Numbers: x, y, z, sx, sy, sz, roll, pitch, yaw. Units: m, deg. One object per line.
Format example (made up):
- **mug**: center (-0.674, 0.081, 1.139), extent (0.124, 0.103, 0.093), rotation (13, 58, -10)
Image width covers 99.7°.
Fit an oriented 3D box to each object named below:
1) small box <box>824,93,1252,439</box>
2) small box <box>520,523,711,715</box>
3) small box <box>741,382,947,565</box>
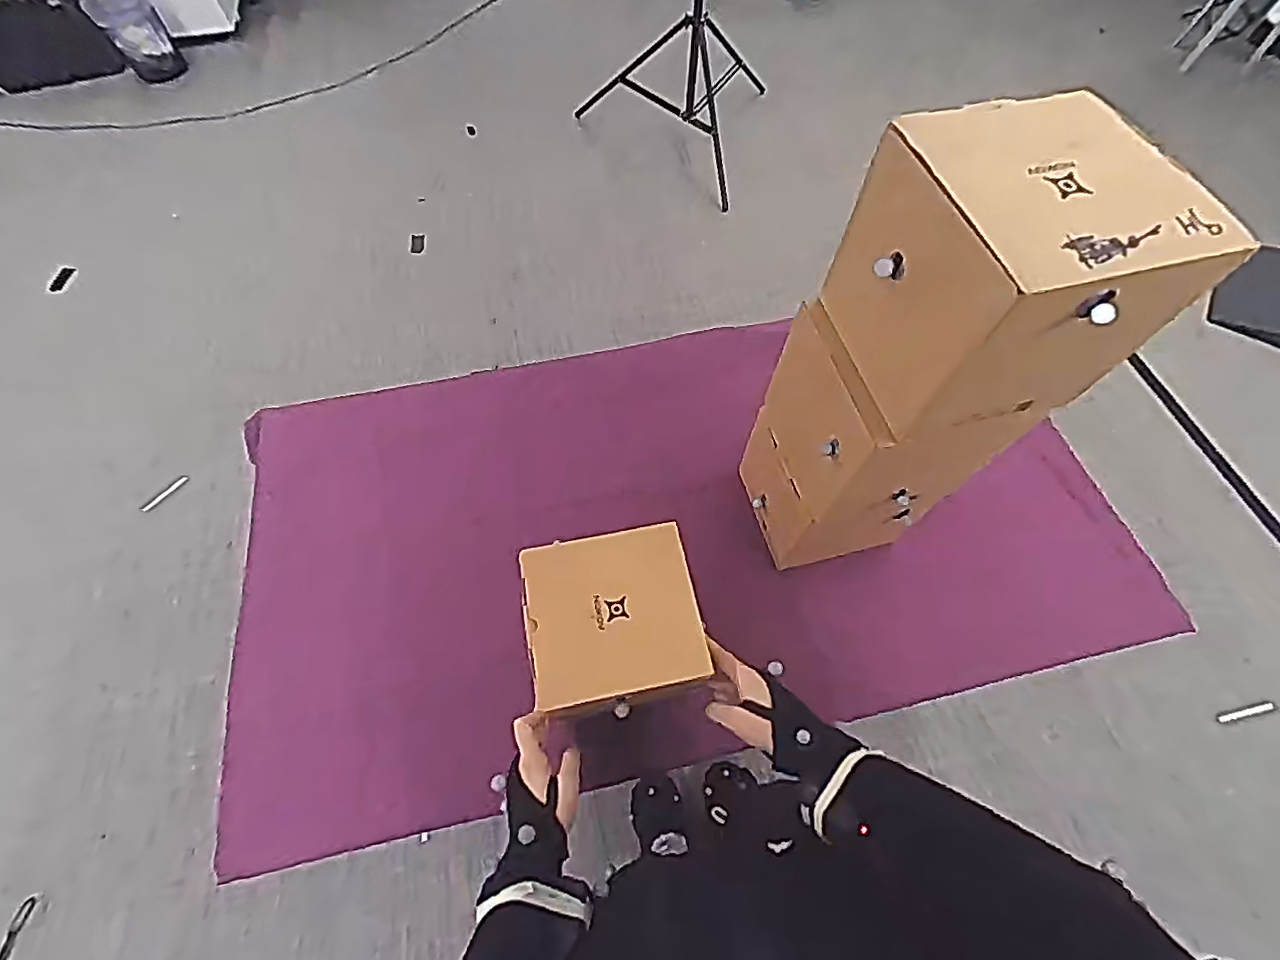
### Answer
- **small box**: center (0.269, -0.159, 0.424), extent (0.168, 0.176, 0.179), rotation (-13, 63, -6)
- **small box**: center (-0.030, 0.167, 0.626), extent (0.179, 0.176, 0.168), rotation (-11, 64, -5)
- **small box**: center (0.250, -0.004, 0.714), extent (0.179, 0.176, 0.168), rotation (-13, 63, -6)
